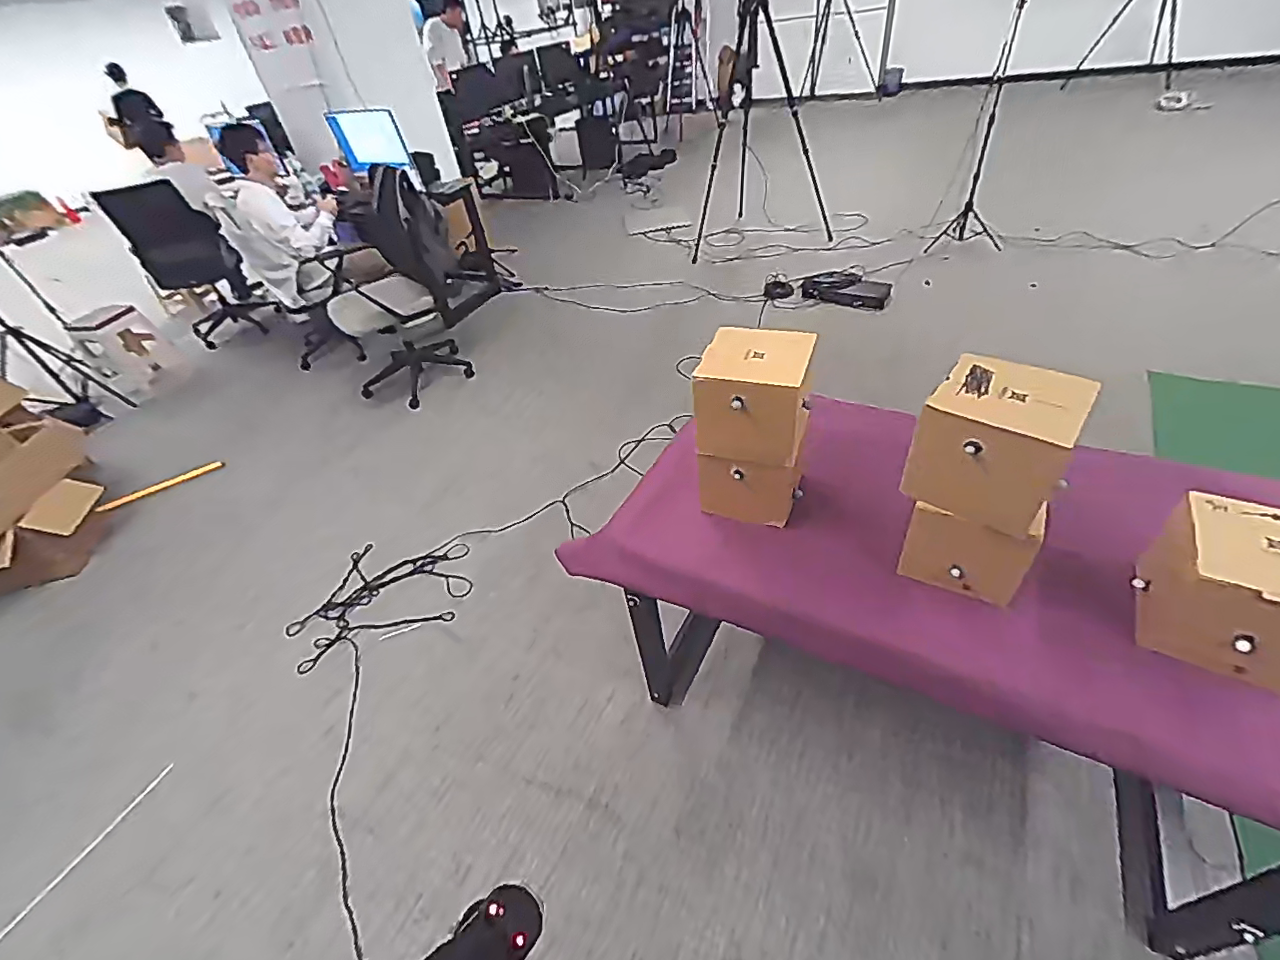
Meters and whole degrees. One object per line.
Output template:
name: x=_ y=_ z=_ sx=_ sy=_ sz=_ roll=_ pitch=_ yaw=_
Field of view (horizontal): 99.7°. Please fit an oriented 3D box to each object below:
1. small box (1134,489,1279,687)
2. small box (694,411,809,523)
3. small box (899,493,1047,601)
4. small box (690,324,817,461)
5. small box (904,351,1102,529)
small box: x=0.819 y=0.147 z=0.740 sx=0.168 sy=0.176 sz=0.179 roll=19 pitch=49 yaw=28
small box: x=0.219 y=-0.038 z=1.058 sx=0.179 sy=0.176 sz=0.168 roll=12 pitch=47 yaw=22
small box: x=0.540 y=0.063 z=0.886 sx=0.168 sy=0.176 sz=0.179 roll=17 pitch=49 yaw=27
small box: x=0.201 y=-0.152 z=0.945 sx=0.179 sy=0.176 sz=0.168 roll=10 pitch=47 yaw=22
small box: x=0.508 y=-0.058 z=0.779 sx=0.179 sy=0.176 sz=0.168 roll=27 pitch=53 yaw=33
